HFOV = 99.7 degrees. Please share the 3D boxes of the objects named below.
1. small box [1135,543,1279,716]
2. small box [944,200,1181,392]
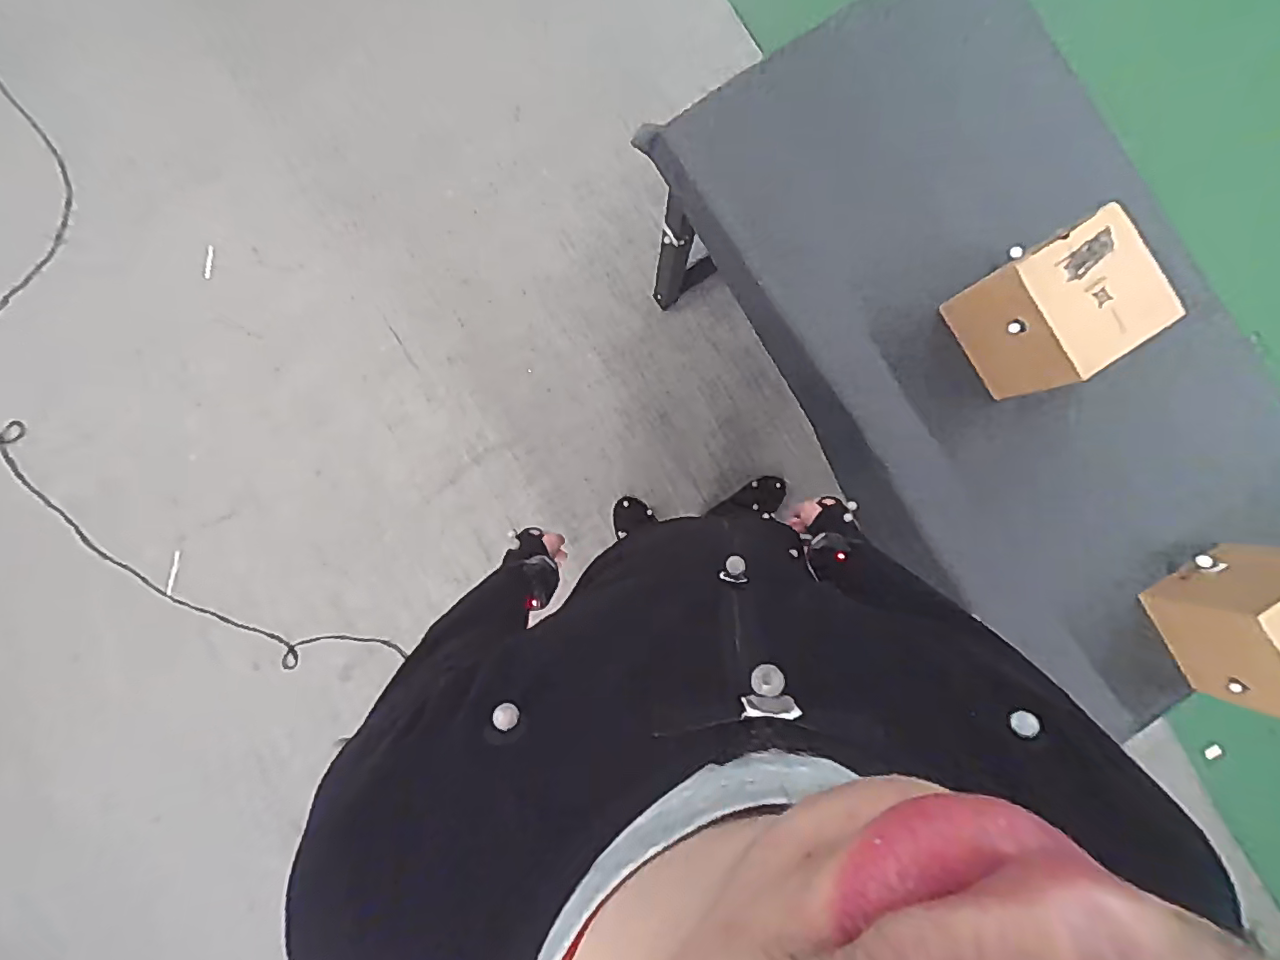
[{"bbox_3d":[0.893,0.208,0.780,0.168,0.176,0.179,-31,90,-2],"label":"small box"},{"bbox_3d":[0.580,-0.246,0.770,0.168,0.176,0.179,-32,93,-1],"label":"small box"}]
